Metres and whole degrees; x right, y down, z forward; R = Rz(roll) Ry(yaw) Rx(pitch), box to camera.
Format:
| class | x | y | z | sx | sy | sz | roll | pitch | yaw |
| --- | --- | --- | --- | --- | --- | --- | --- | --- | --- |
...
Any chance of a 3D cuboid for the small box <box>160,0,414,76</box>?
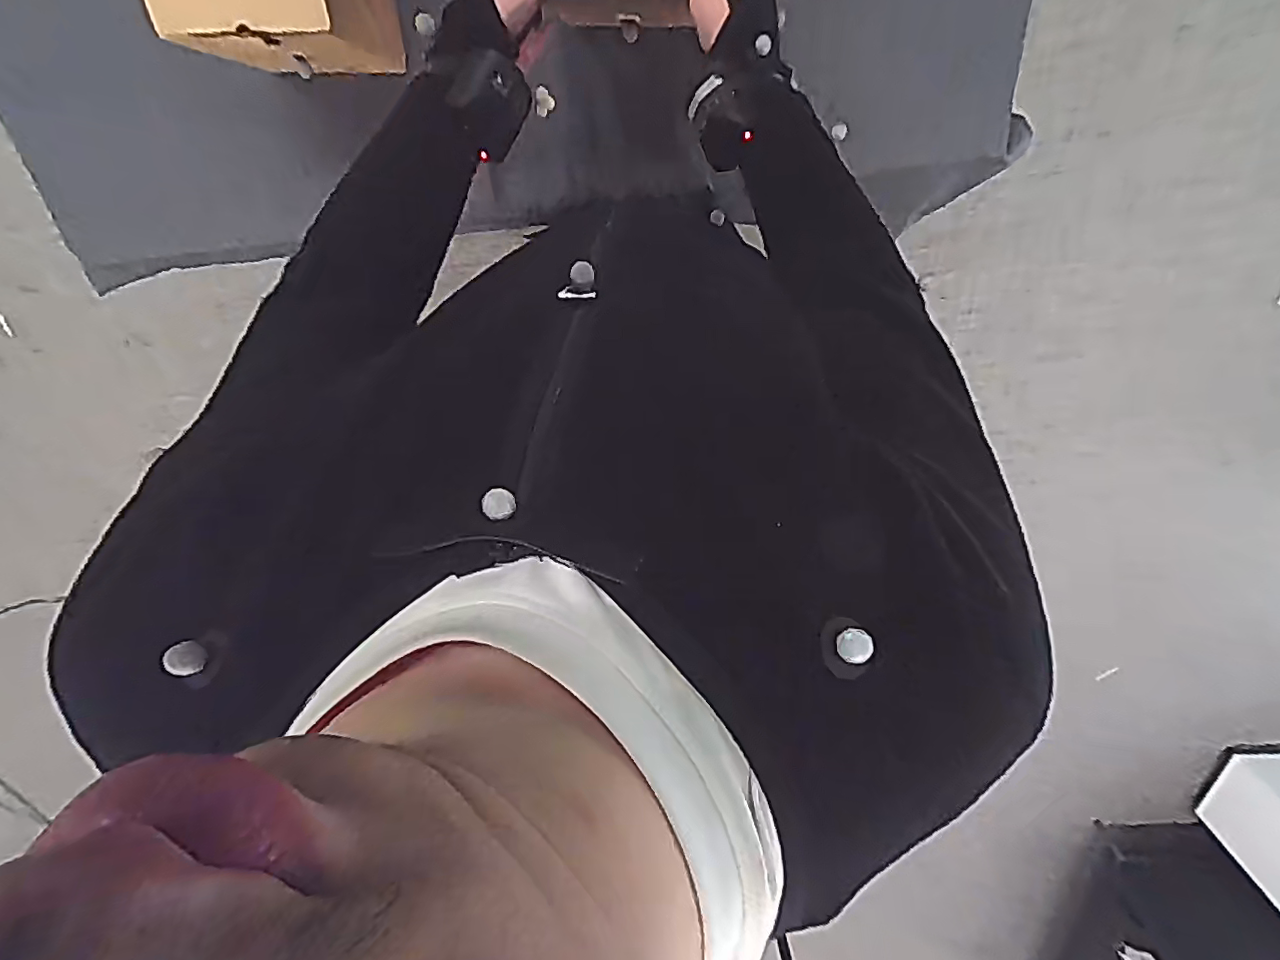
| class | x | y | z | sx | sy | sz | roll | pitch | yaw |
| --- | --- | --- | --- | --- | --- | --- | --- | --- | --- |
| small box | -0.346 | -0.514 | 0.526 | 0.168 | 0.176 | 0.179 | -1 | 117 | 4 |

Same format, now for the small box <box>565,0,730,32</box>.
| class | x | y | z | sx | sy | sz | roll | pitch | yaw |
| --- | --- | --- | --- | --- | --- | --- | --- | --- | --- |
| small box | 0.005 | -0.518 | 0.465 | 0.168 | 0.176 | 0.179 | 5 | 121 | 4 |
